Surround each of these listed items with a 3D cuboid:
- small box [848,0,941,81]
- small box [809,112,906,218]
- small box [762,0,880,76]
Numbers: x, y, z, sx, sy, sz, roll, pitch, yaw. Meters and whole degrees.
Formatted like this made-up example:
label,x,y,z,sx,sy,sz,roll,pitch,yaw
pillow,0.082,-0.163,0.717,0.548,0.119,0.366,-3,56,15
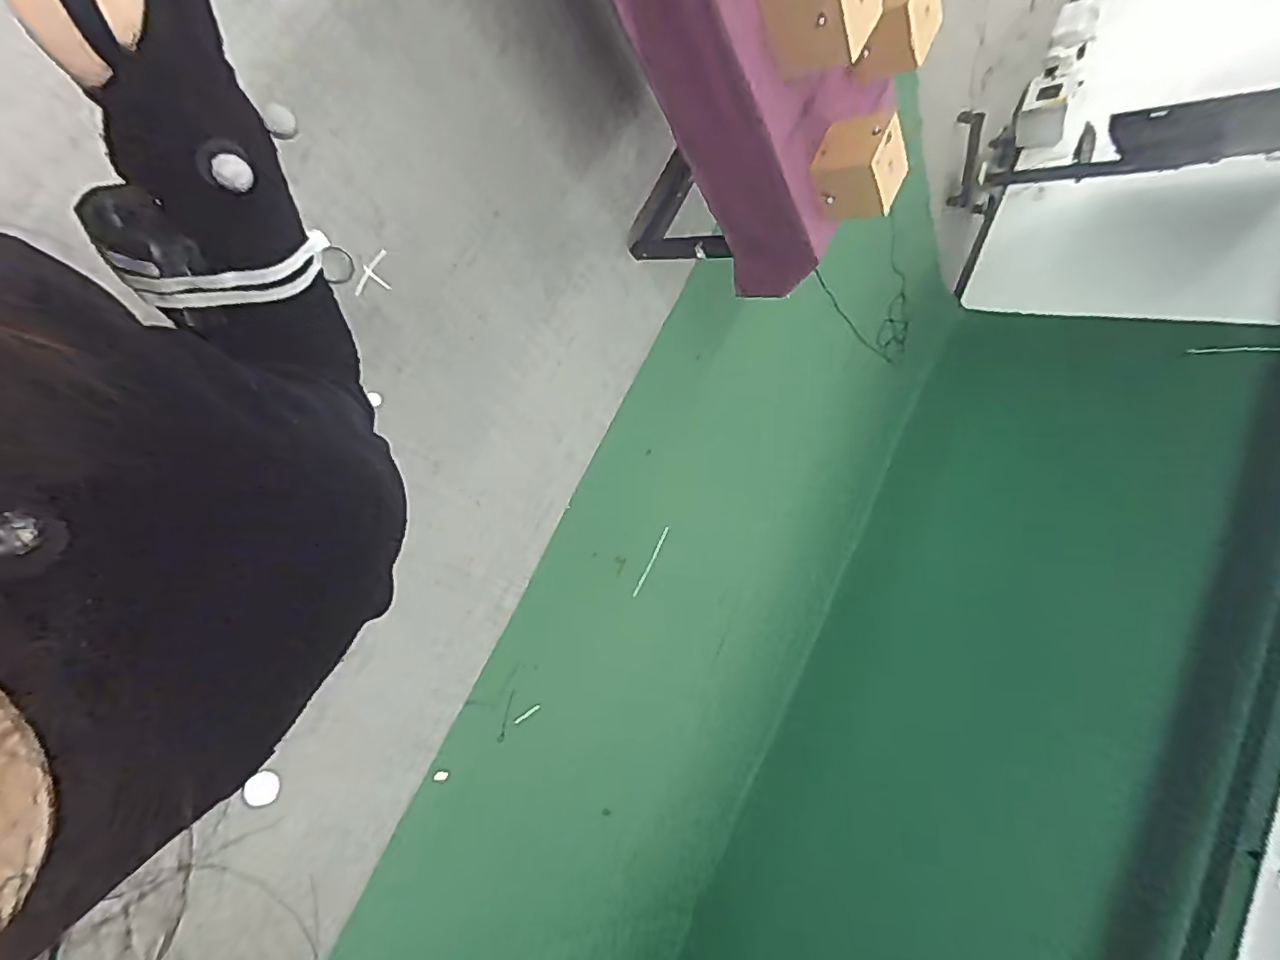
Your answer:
label,x,y,z,sx,sy,sz,roll,pitch,yaw
small box,0.623,-1.149,1.348,0.168,0.176,0.179,34,79,-48
small box,0.570,-0.814,1.416,0.179,0.176,0.168,37,76,-49
small box,0.375,-0.993,1.128,0.179,0.176,0.168,43,72,-49
